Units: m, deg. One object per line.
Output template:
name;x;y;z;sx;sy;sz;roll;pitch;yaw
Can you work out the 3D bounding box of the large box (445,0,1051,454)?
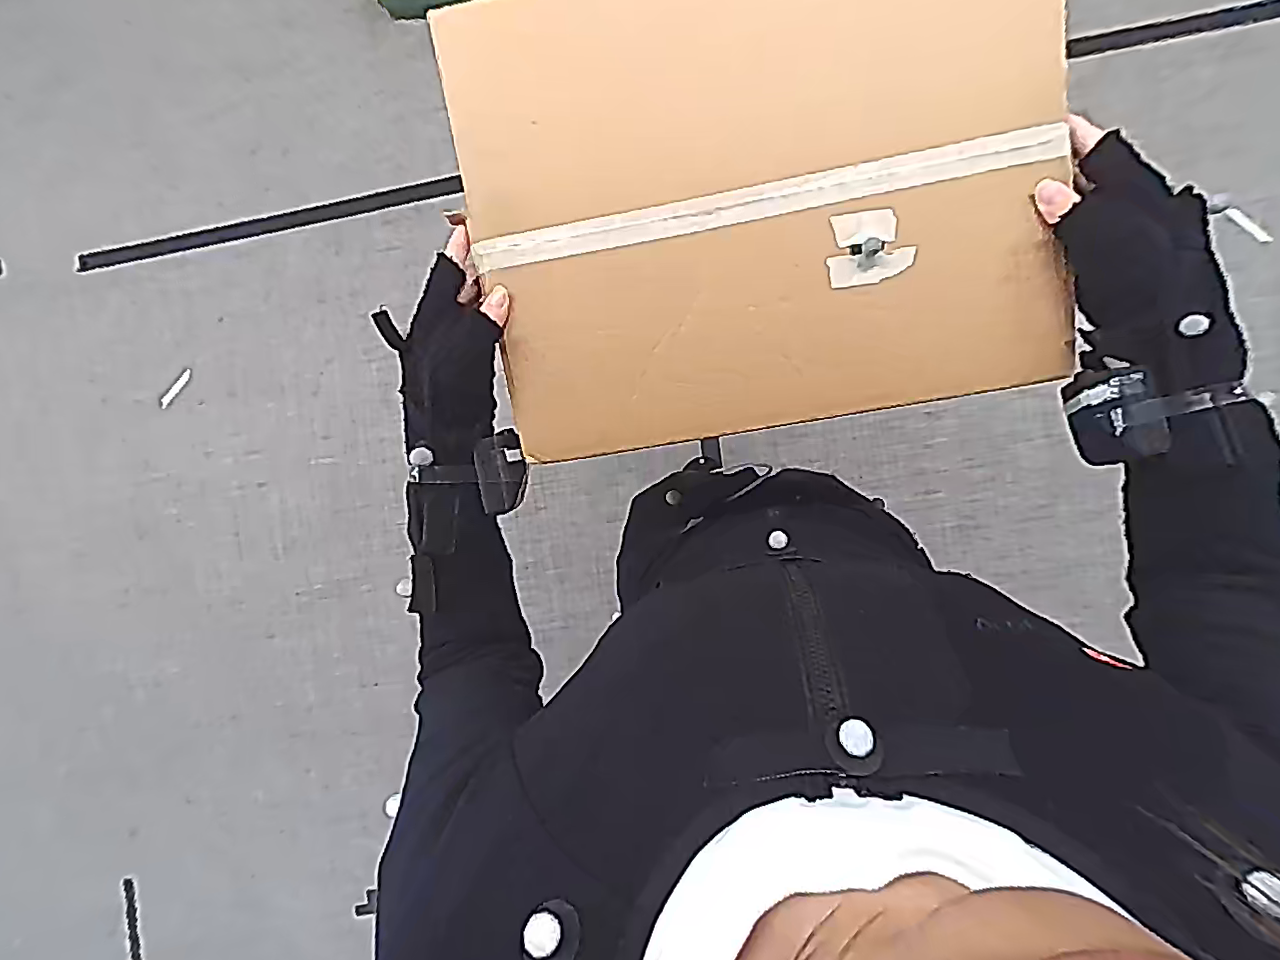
large box;0.087;-0.228;0.535;0.408;0.320;0.320;-10;101;3
